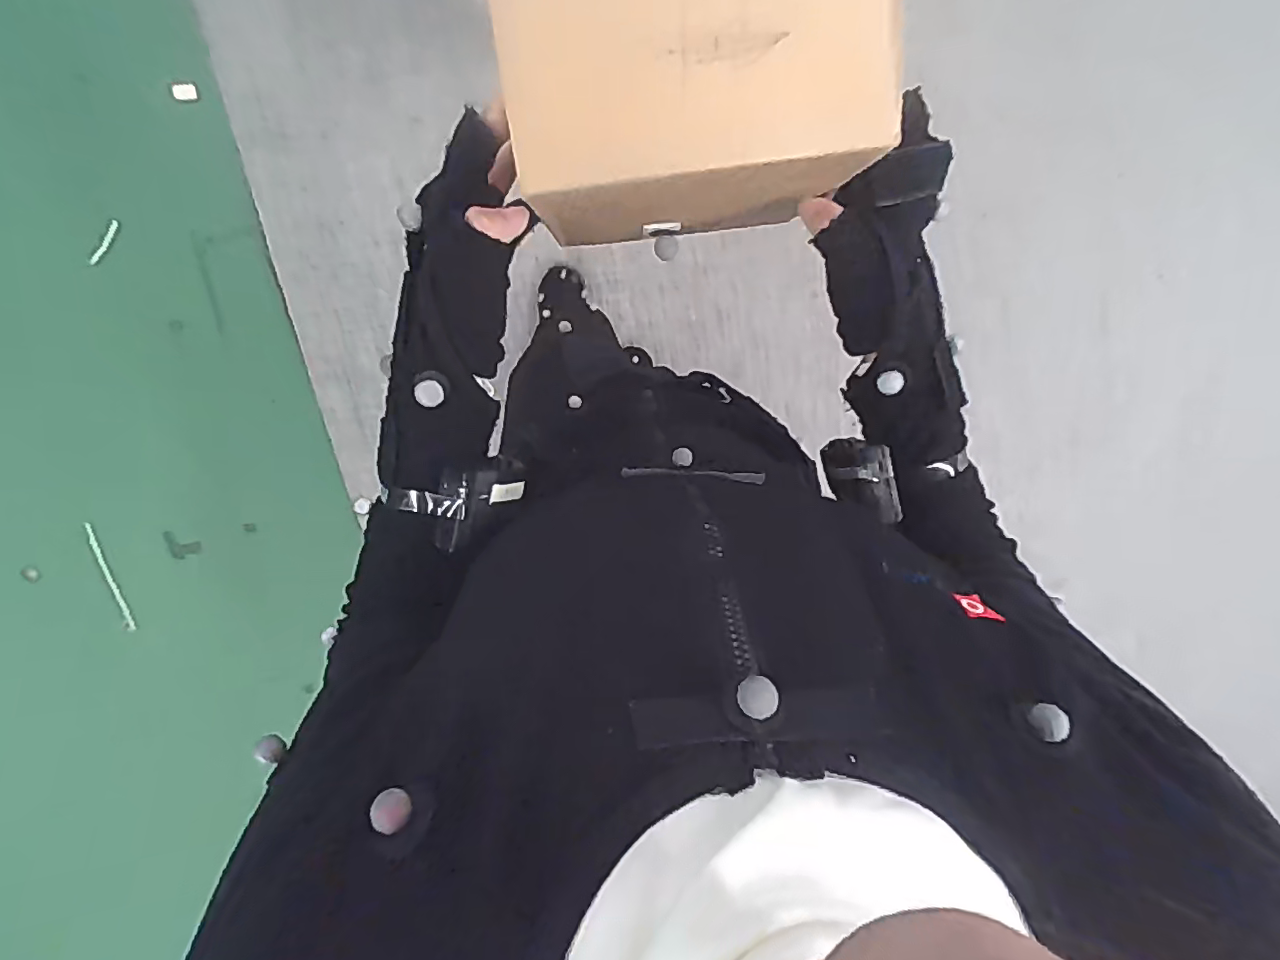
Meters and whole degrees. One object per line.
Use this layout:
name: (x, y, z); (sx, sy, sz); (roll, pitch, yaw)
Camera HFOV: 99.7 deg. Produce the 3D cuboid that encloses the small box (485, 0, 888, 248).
small box: (0.015, -0.238, 0.290); (0.168, 0.176, 0.179); (-7, 106, 2)
